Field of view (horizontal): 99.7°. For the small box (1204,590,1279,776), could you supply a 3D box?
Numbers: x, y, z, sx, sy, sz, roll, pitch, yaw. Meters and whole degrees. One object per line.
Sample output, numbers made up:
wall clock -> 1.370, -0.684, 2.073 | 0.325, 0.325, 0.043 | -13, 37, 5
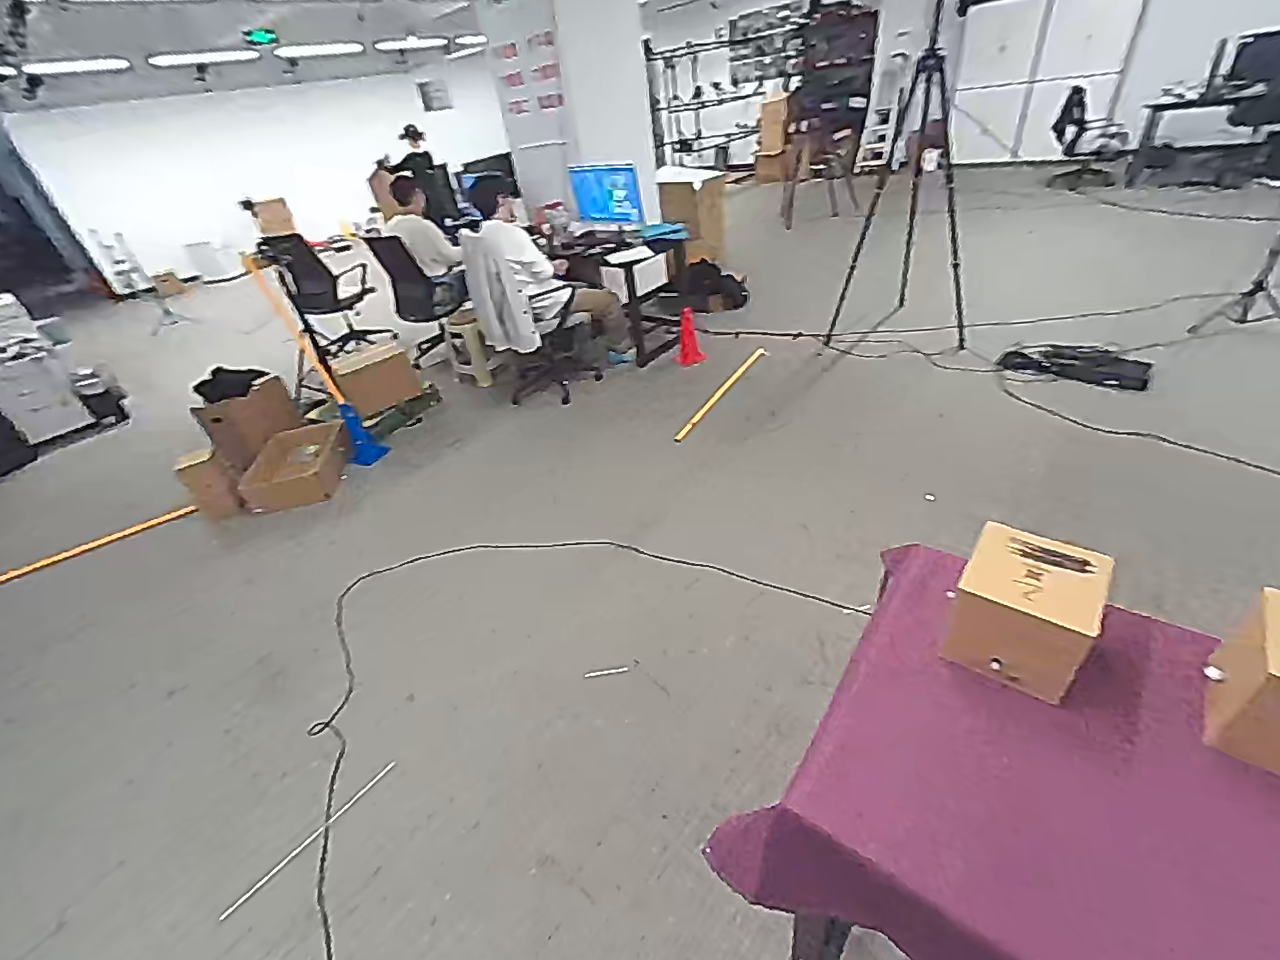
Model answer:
small box -> 0.863, 0.276, 0.673 | 0.179, 0.176, 0.168 | 20, 45, 37
